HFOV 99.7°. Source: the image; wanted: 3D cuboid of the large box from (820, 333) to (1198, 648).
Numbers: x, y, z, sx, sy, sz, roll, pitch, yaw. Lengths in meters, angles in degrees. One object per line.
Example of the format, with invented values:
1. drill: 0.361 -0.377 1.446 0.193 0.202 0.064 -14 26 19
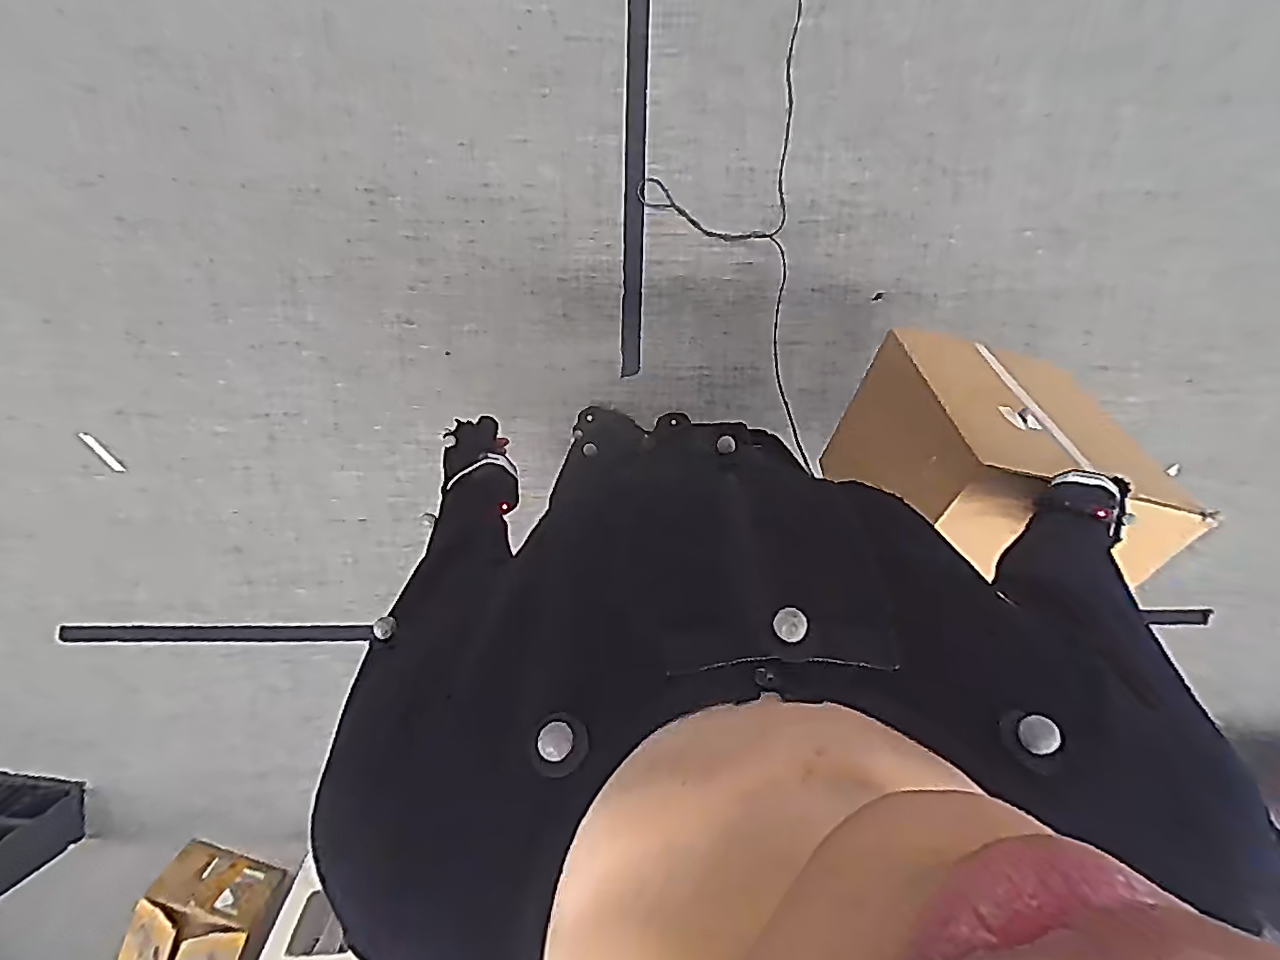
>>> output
1. large box: 0.544 0.008 0.918 0.320 0.408 0.320 12 130 -4
